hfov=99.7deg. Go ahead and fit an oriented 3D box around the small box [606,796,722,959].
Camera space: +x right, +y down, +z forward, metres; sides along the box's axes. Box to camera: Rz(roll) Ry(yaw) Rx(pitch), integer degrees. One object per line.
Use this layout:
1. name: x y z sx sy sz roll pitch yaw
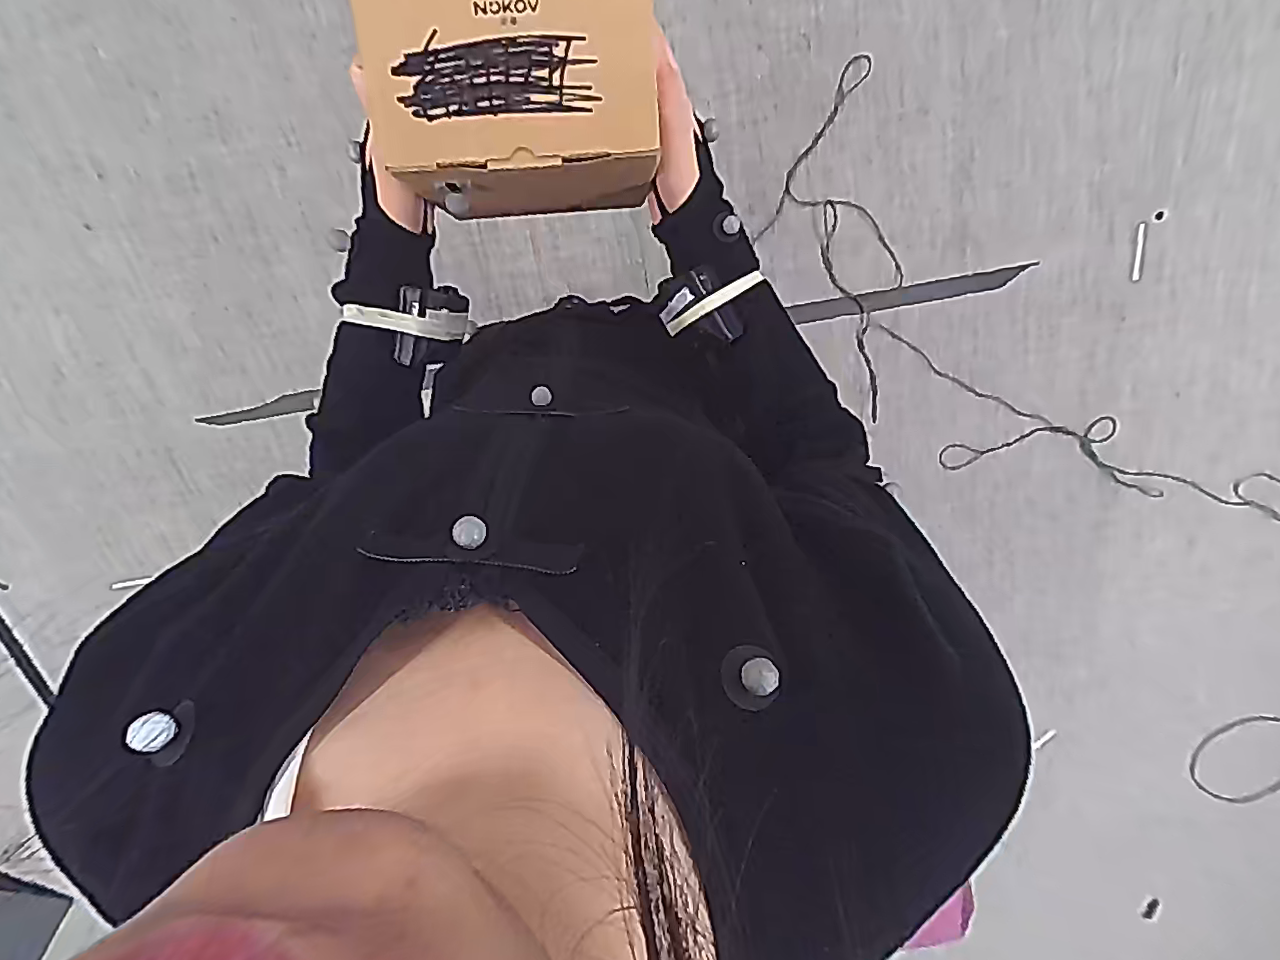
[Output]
1. small box: 0.037 0.673 0.908 0.168 0.176 0.179 -9 110 -1
